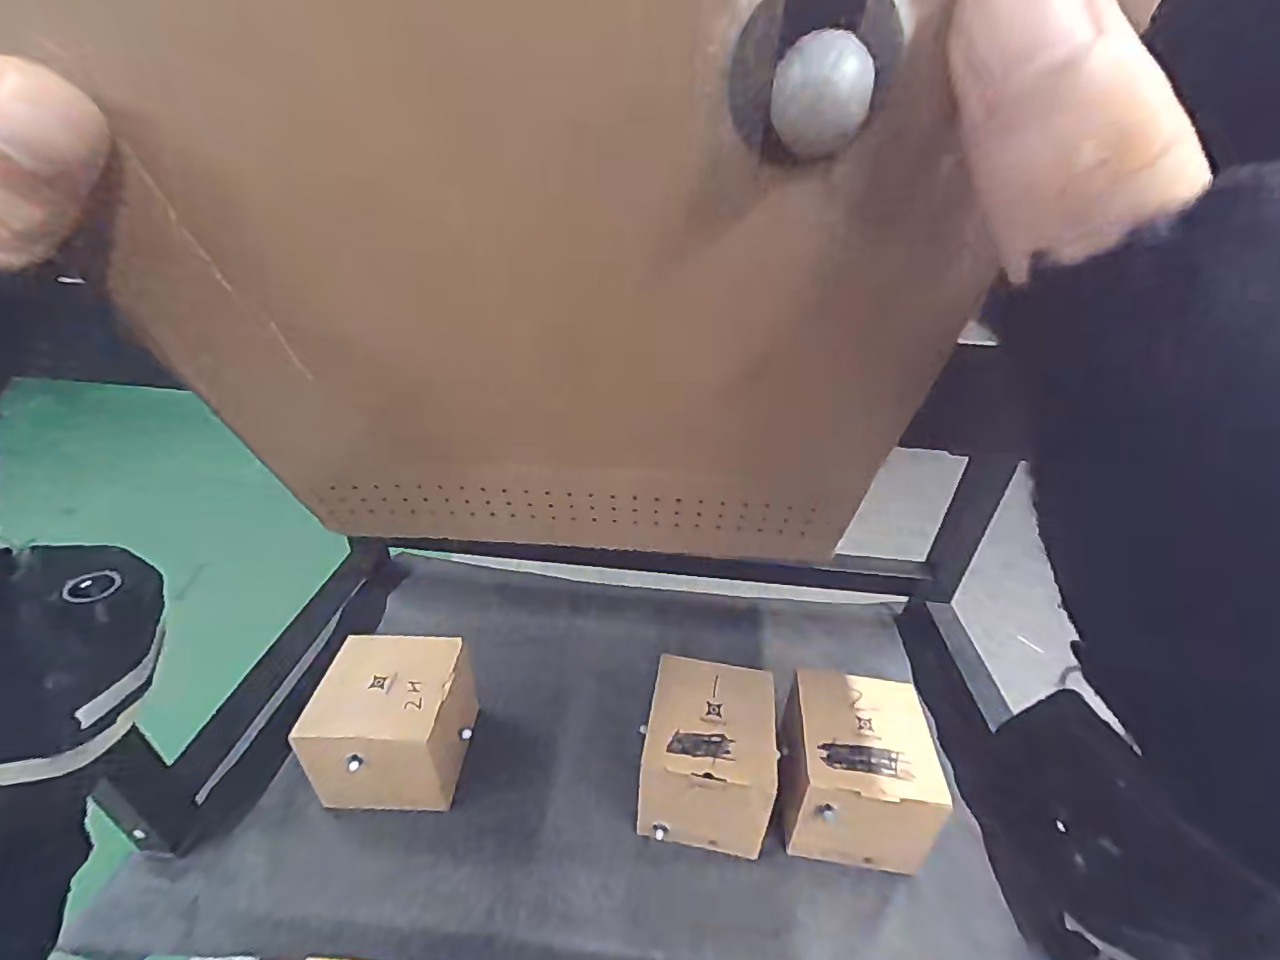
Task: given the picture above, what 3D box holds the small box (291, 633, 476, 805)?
[{"bbox_3d":[-0.353,0.344,0.784,0.179,0.176,0.168,3,33,-1],"label":"small box"}]
